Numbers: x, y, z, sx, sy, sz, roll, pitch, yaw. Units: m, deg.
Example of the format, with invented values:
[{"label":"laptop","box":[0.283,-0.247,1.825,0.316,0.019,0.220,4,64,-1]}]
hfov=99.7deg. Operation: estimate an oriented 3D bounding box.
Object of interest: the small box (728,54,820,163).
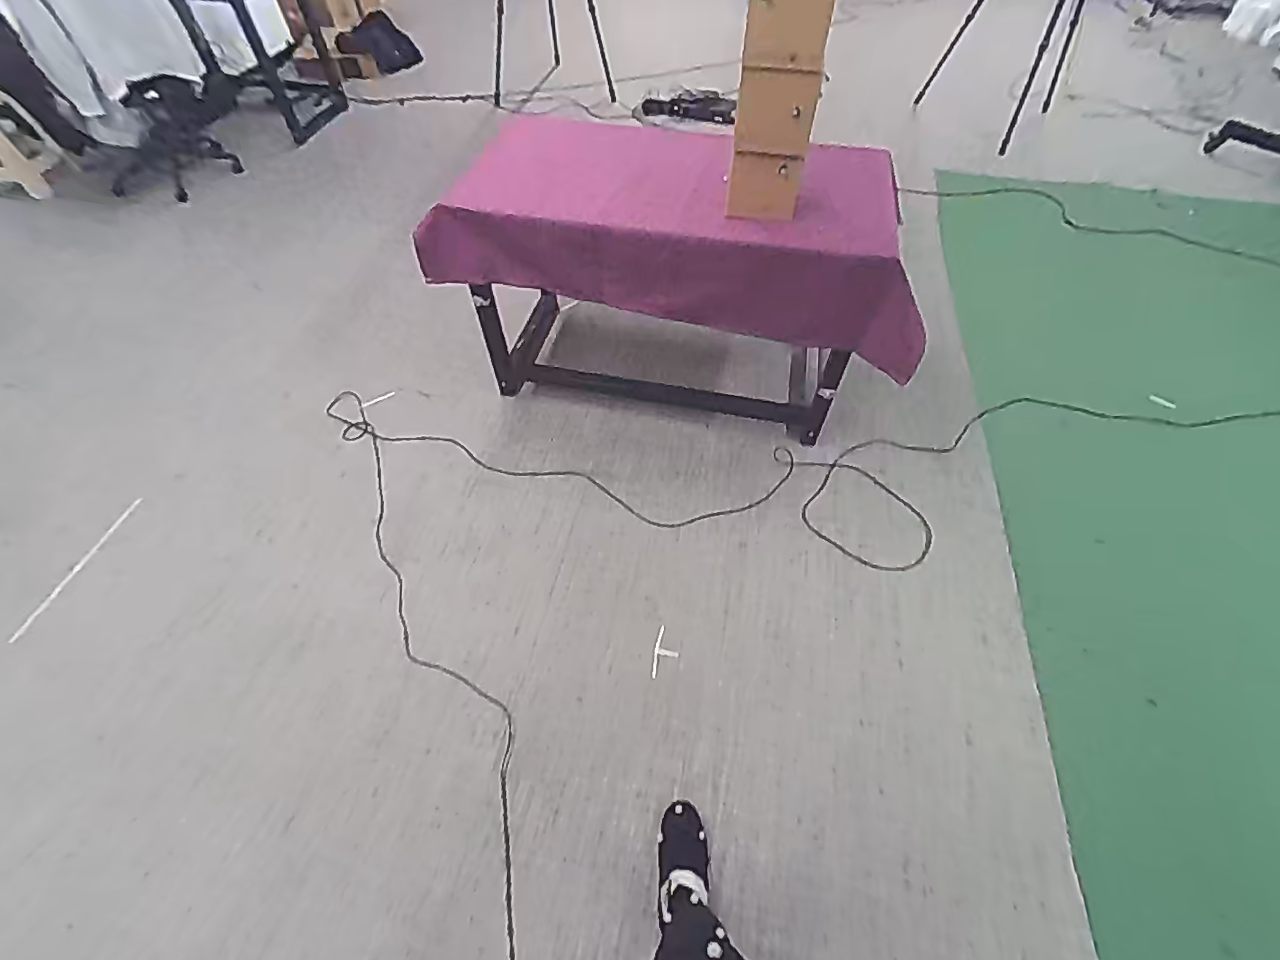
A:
[{"label":"small box","box":[0.313,-0.872,1.276,0.179,0.176,0.168,9,53,7]}]

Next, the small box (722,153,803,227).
[{"label":"small box","box":[0.317,-0.786,1.416,0.179,0.176,0.168,8,53,6]}]
